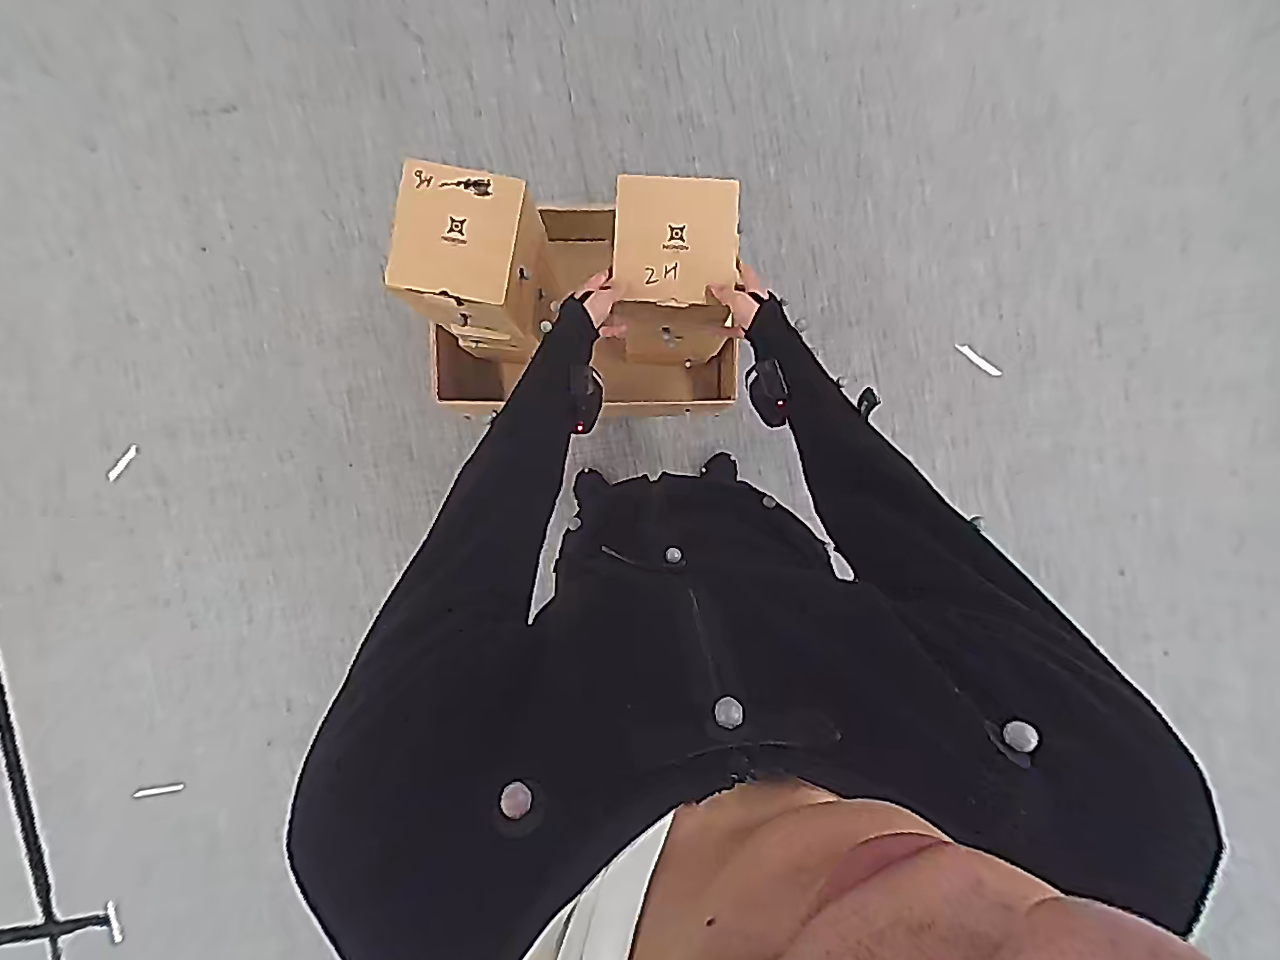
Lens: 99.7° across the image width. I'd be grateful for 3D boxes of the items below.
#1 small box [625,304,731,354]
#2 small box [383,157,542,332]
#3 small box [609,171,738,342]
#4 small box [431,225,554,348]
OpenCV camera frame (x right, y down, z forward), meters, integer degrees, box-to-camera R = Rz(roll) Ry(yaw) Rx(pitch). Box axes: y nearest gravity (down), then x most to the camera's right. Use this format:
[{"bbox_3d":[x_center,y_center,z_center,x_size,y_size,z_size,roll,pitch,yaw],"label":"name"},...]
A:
[{"bbox_3d":[0.064,-0.327,0.970,0.179,0.176,0.168,2,91,0],"label":"small box"},{"bbox_3d":[-0.250,-0.333,0.801,0.168,0.176,0.179,11,92,-1],"label":"small box"},{"bbox_3d":[0.044,-0.319,0.799,0.168,0.176,0.179,3,88,0],"label":"small box"},{"bbox_3d":[-0.253,-0.343,0.965,0.168,0.176,0.179,7,91,-1],"label":"small box"}]
